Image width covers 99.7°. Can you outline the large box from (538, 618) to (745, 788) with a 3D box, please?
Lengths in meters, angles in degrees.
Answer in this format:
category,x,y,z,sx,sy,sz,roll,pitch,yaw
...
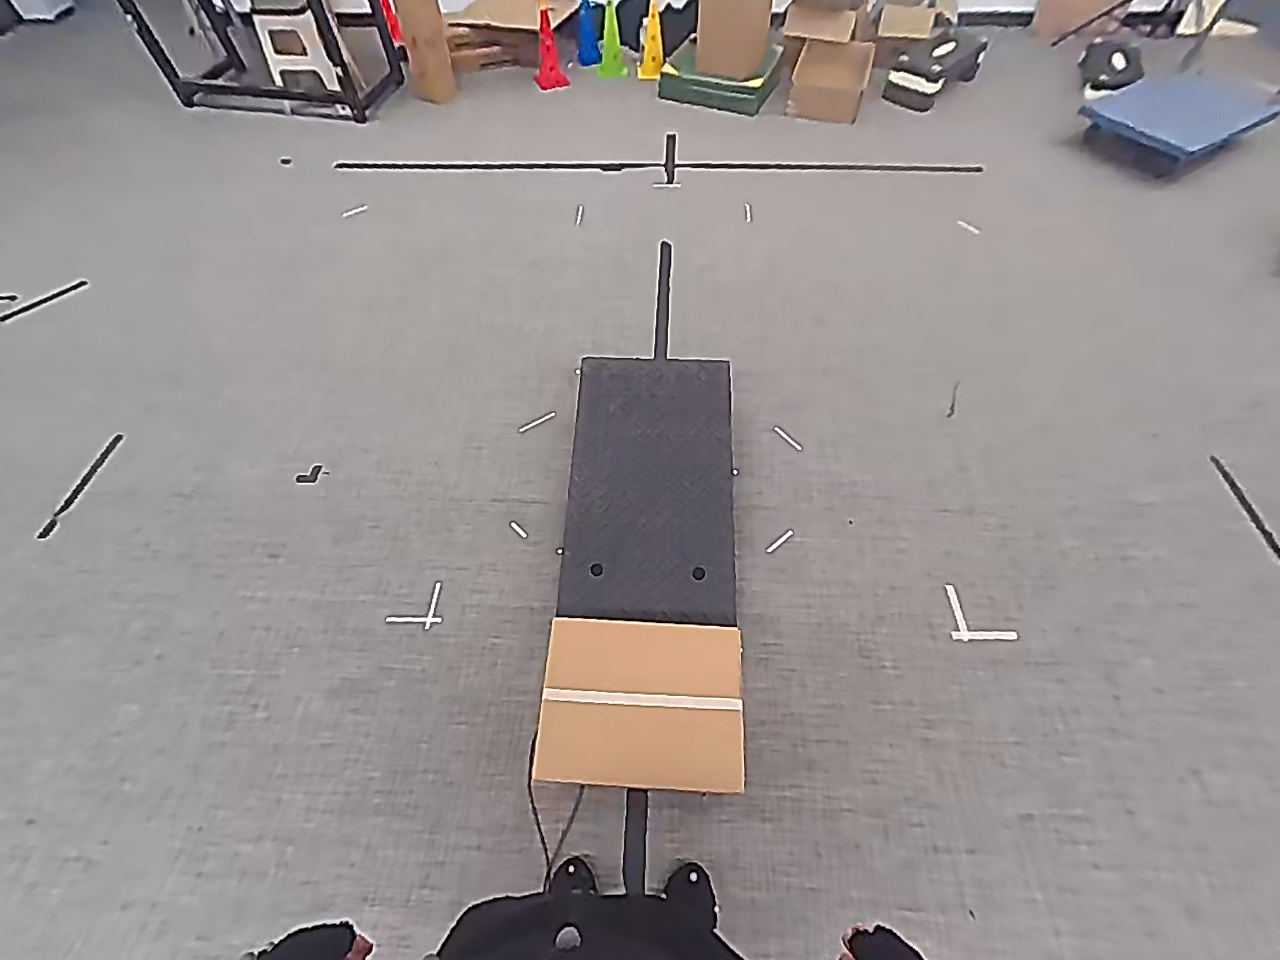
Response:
category,x,y,z,sx,sy,sz,roll,pitch,yaw
large box,0.012,0.511,1.233,0.408,0.320,0.320,2,61,2

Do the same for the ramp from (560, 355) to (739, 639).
category,x,y,z,sx,sy,sz,roll,pitch,yaw
ramp,0.039,0.055,1.606,0.509,0.206,0.991,1,58,0
